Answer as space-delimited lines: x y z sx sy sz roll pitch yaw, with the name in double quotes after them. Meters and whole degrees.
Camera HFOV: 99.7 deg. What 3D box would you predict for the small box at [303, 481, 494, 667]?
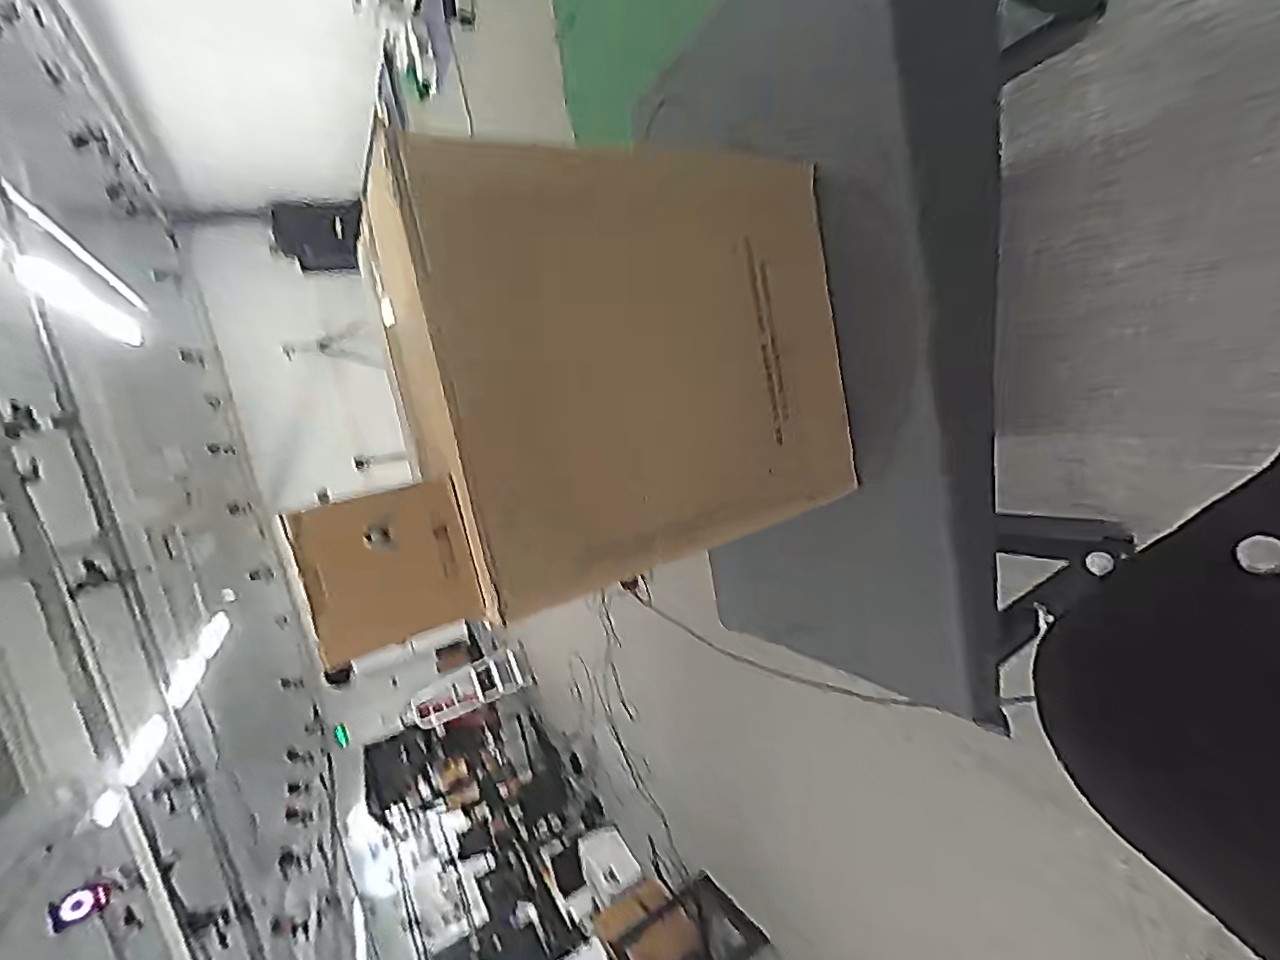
-0.290 0.100 0.658 0.179 0.176 0.168 -7 97 60 "small box"
